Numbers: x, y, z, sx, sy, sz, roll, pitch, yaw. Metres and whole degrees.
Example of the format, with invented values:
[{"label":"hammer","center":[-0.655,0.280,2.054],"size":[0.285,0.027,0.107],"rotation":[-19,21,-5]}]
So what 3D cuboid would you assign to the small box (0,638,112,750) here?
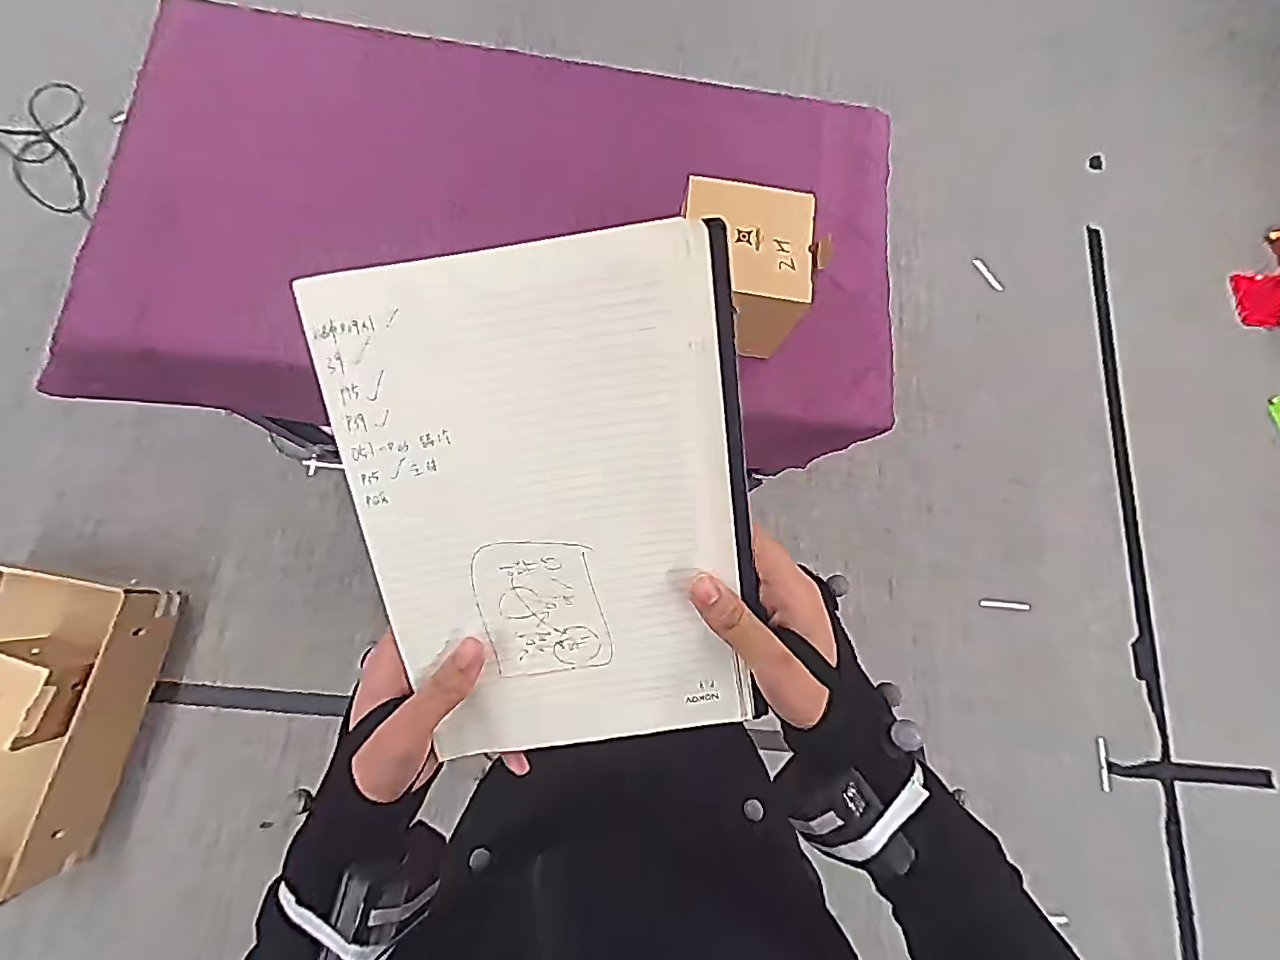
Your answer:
[{"label":"small box","center":[-1.314,0.447,1.159],"size":[0.179,0.176,0.168],"rotation":[20,77,-2]}]

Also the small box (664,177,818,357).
[{"label":"small box","center":[0.136,-0.292,0.776],"size":[0.179,0.176,0.168],"rotation":[8,77,-5]}]
